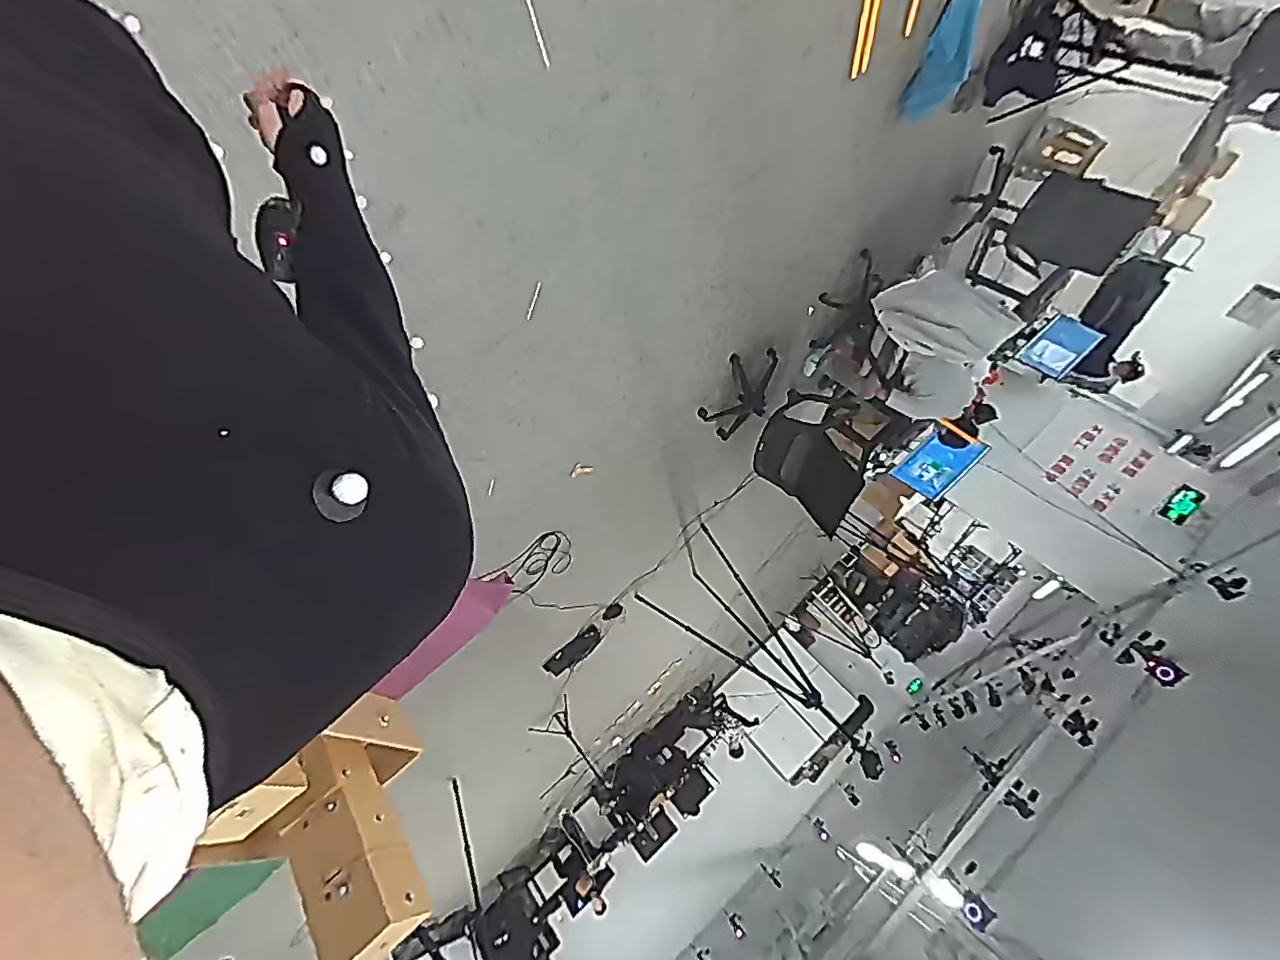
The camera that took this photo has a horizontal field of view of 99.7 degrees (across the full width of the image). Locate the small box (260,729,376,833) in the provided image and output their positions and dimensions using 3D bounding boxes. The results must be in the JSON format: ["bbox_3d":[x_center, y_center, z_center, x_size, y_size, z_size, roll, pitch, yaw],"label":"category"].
[{"bbox_3d":[-0.825,0.770,1.391,0.168,0.176,0.179,-39,149,-11],"label":"small box"}]

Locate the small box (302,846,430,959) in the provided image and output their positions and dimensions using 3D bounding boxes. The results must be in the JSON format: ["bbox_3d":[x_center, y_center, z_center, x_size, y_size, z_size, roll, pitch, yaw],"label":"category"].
[{"bbox_3d":[-0.621,0.971,1.233,0.168,0.176,0.179,-40,148,-11],"label":"small box"}]

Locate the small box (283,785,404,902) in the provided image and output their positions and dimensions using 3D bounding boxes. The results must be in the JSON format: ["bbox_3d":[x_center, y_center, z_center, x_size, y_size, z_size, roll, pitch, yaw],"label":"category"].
[{"bbox_3d":[-0.721,0.873,1.316,0.168,0.176,0.179,-39,150,-11],"label":"small box"}]
